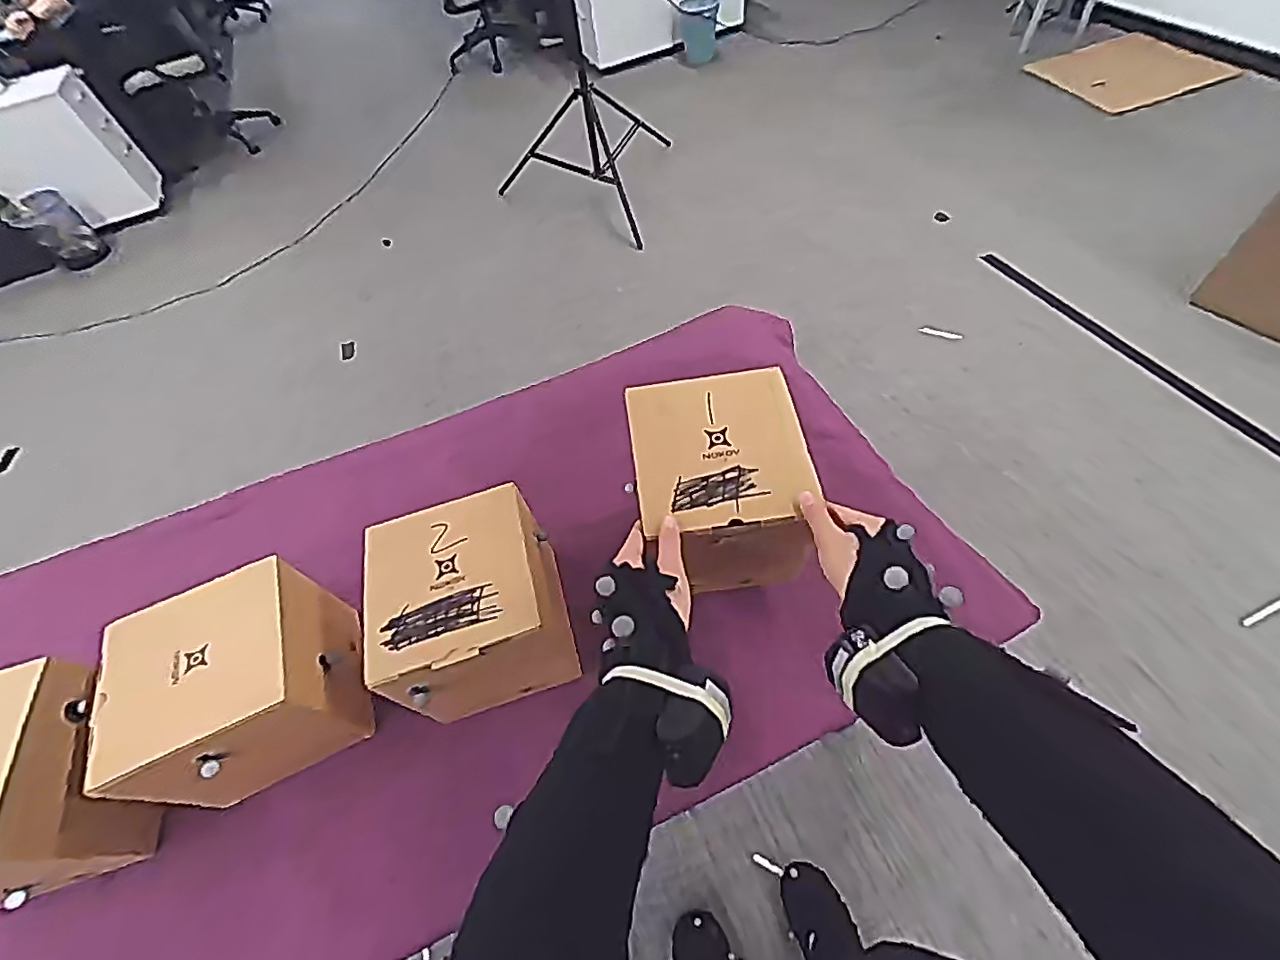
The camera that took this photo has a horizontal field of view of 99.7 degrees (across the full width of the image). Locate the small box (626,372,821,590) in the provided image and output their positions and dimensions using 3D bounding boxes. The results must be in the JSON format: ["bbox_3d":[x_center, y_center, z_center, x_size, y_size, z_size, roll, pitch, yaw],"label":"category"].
[{"bbox_3d":[0.081,0.011,0.593,0.168,0.176,0.179,-8,58,0],"label":"small box"}]
